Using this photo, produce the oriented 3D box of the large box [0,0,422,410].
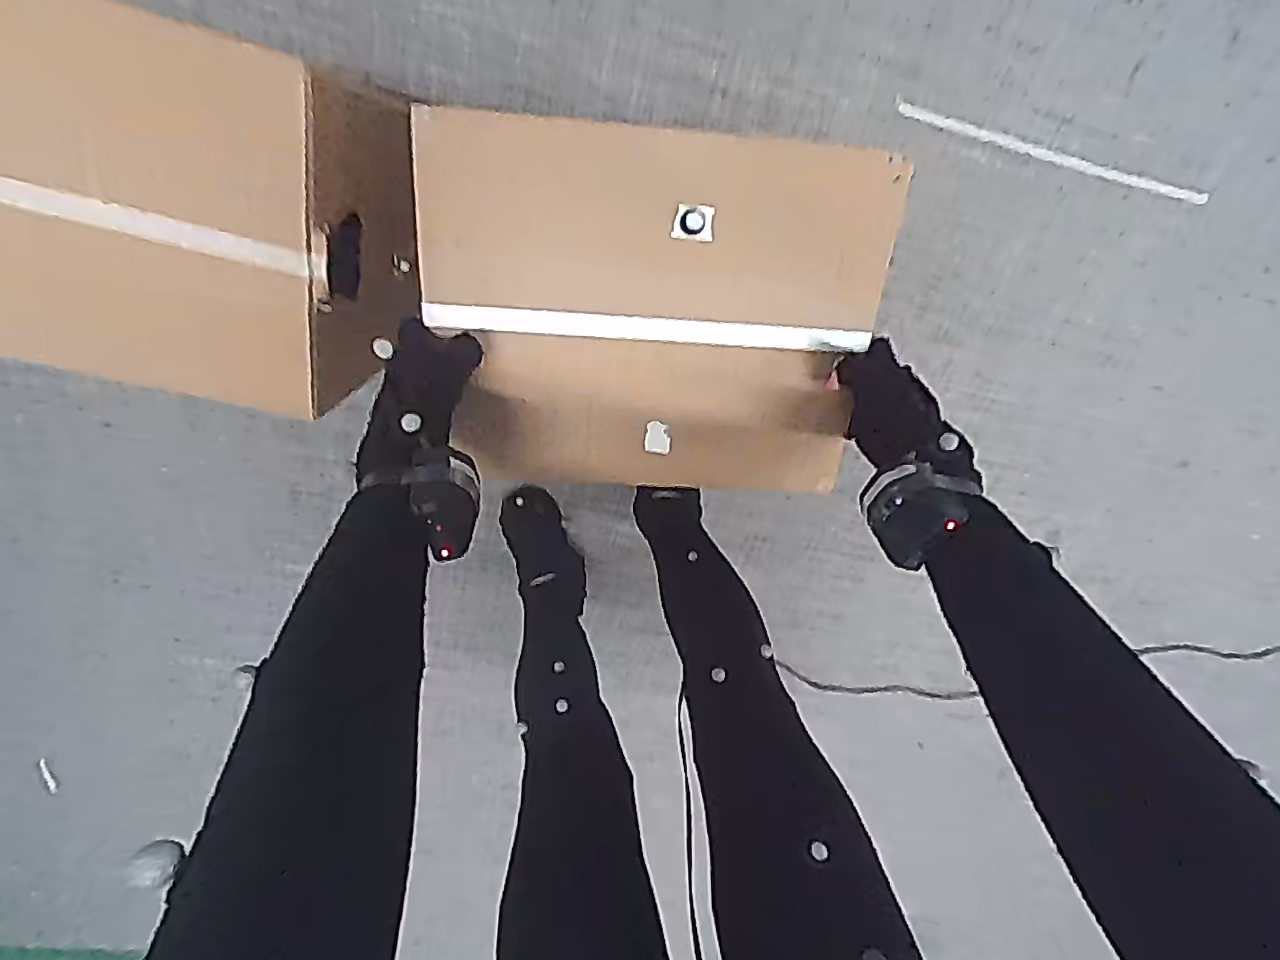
[{"bbox_3d":[-0.493,-0.309,0.591,0.408,0.320,0.320,13,116,-8],"label":"large box"}]
